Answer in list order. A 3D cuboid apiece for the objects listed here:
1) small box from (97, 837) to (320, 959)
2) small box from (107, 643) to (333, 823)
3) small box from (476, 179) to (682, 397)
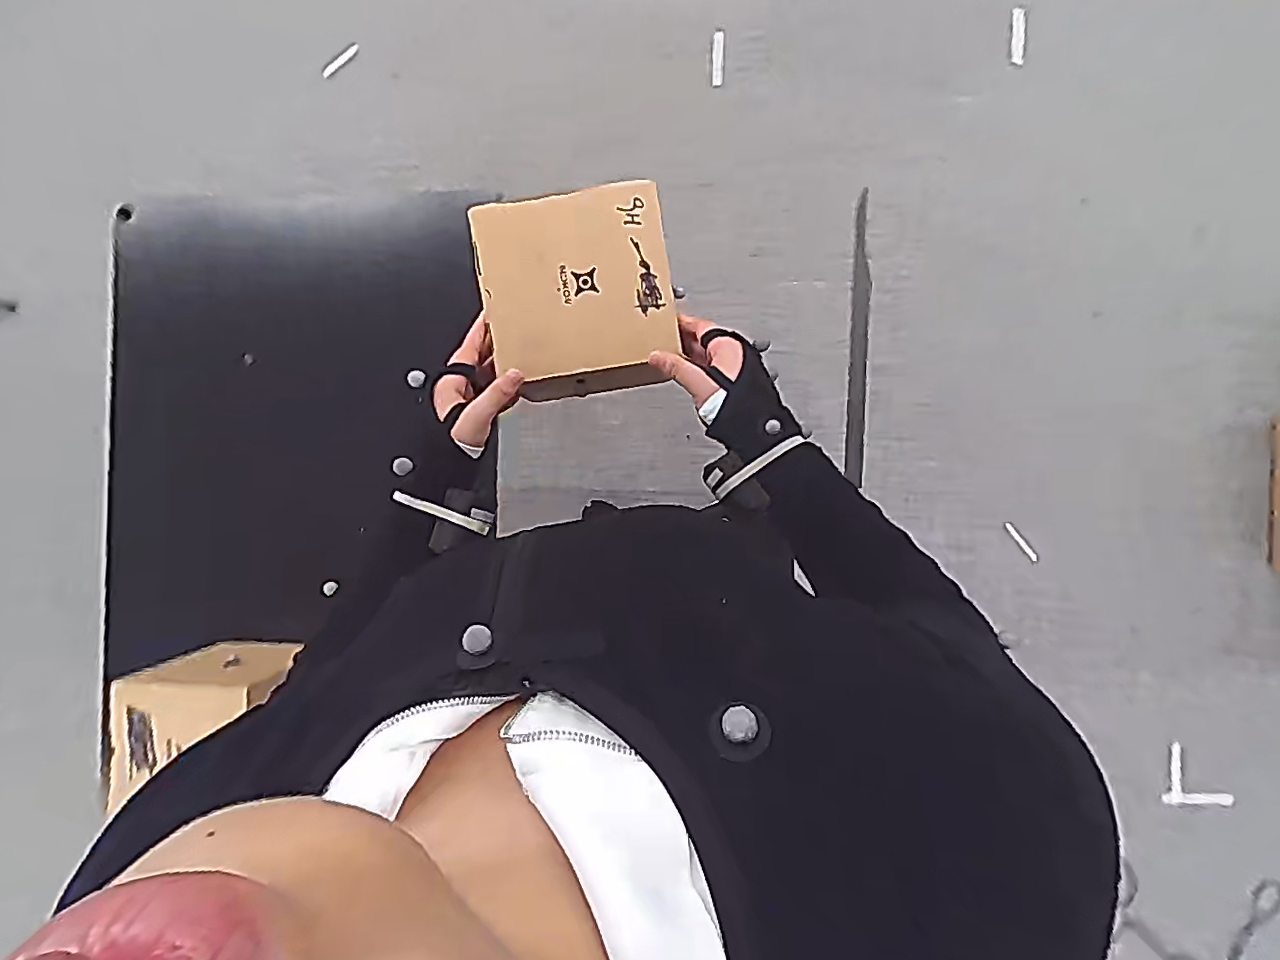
[{"bbox_3d":[-0.560,0.612,0.724,0.179,0.176,0.168,-1,88,4],"label":"small box"},{"bbox_3d":[-0.549,0.325,0.726,0.179,0.176,0.168,0,89,2],"label":"small box"},{"bbox_3d":[-0.055,-0.187,0.578,0.179,0.176,0.168,-8,92,0],"label":"small box"}]
